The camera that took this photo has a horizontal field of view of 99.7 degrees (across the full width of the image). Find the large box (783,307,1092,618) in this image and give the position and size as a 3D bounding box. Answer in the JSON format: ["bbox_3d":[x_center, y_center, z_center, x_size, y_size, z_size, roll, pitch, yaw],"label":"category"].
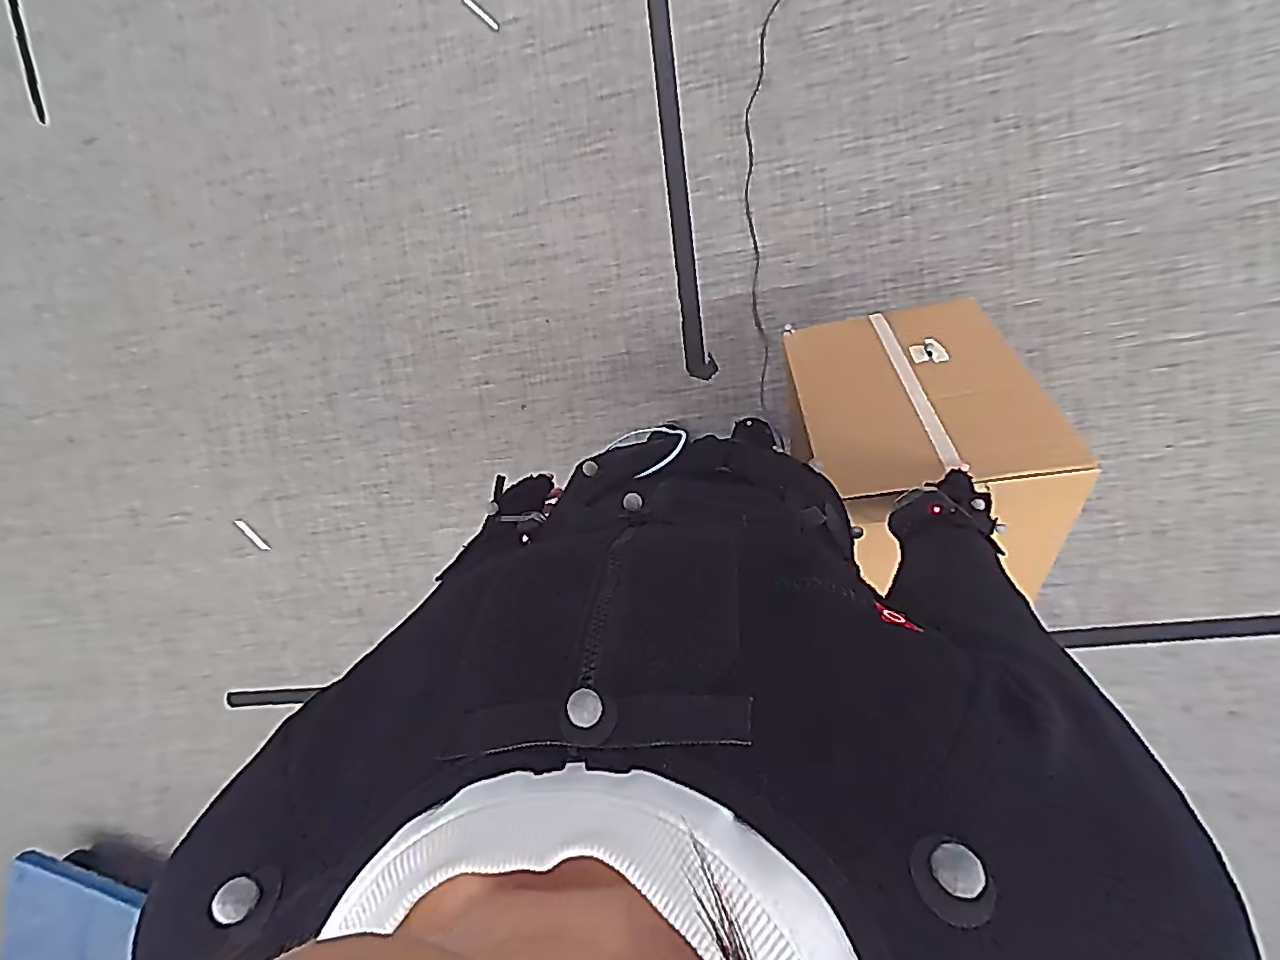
[{"bbox_3d":[0.438,-0.031,0.915,0.320,0.408,0.320,-8,134,10],"label":"large box"}]
